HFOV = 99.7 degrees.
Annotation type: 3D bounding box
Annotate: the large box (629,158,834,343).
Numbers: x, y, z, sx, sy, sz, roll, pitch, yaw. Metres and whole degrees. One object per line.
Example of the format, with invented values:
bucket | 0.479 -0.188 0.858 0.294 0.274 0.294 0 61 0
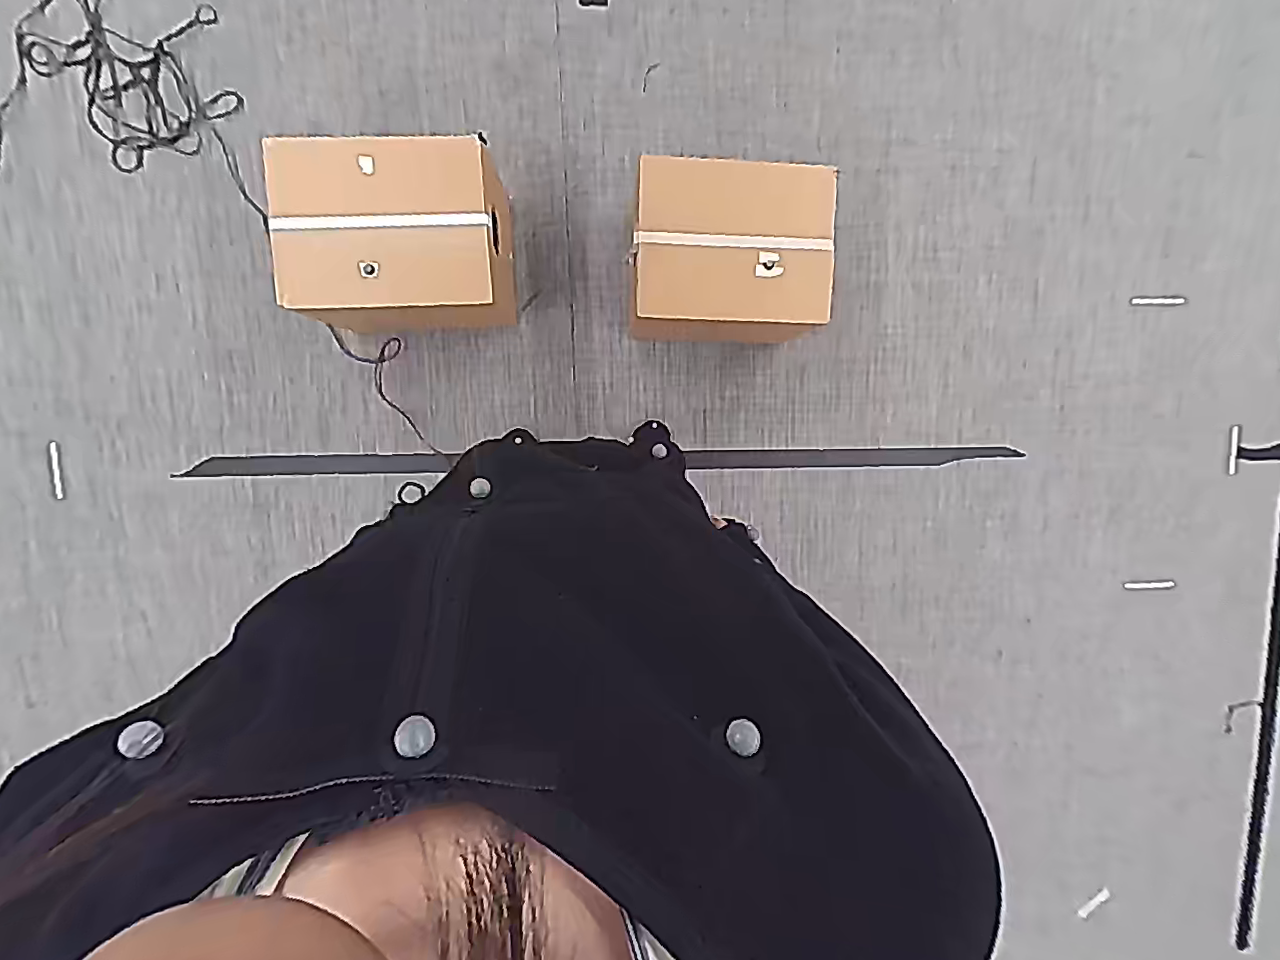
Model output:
large box | 0.184 -0.498 1.249 0.408 0.320 0.320 1 96 -5
